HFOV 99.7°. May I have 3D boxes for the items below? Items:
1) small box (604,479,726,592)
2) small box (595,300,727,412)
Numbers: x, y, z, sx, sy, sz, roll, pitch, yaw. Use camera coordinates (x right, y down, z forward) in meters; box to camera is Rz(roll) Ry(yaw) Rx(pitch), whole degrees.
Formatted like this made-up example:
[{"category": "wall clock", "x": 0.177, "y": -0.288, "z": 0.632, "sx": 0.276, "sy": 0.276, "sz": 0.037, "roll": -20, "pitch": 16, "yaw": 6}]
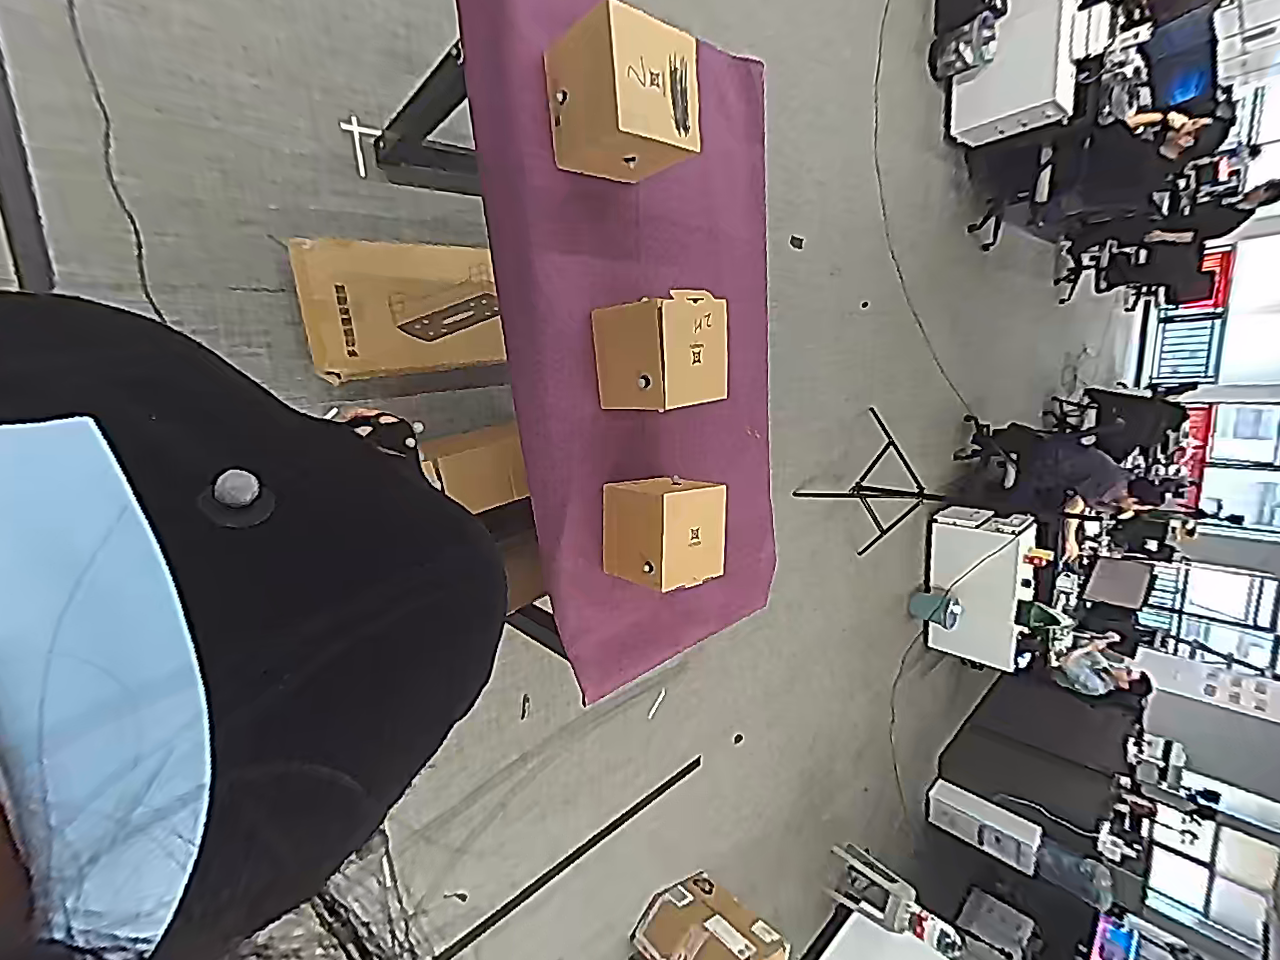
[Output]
[{"category": "small box", "x": 0.044, "y": 0.093, "z": 1.023, "sx": 0.168, "sy": 0.176, "sz": 0.179, "roll": -6, "pitch": 101, "yaw": -42}, {"category": "small box", "x": 0.036, "y": -0.221, "z": 0.968, "sx": 0.168, "sy": 0.176, "sz": 0.179, "roll": -17, "pitch": 107, "yaw": -42}]
